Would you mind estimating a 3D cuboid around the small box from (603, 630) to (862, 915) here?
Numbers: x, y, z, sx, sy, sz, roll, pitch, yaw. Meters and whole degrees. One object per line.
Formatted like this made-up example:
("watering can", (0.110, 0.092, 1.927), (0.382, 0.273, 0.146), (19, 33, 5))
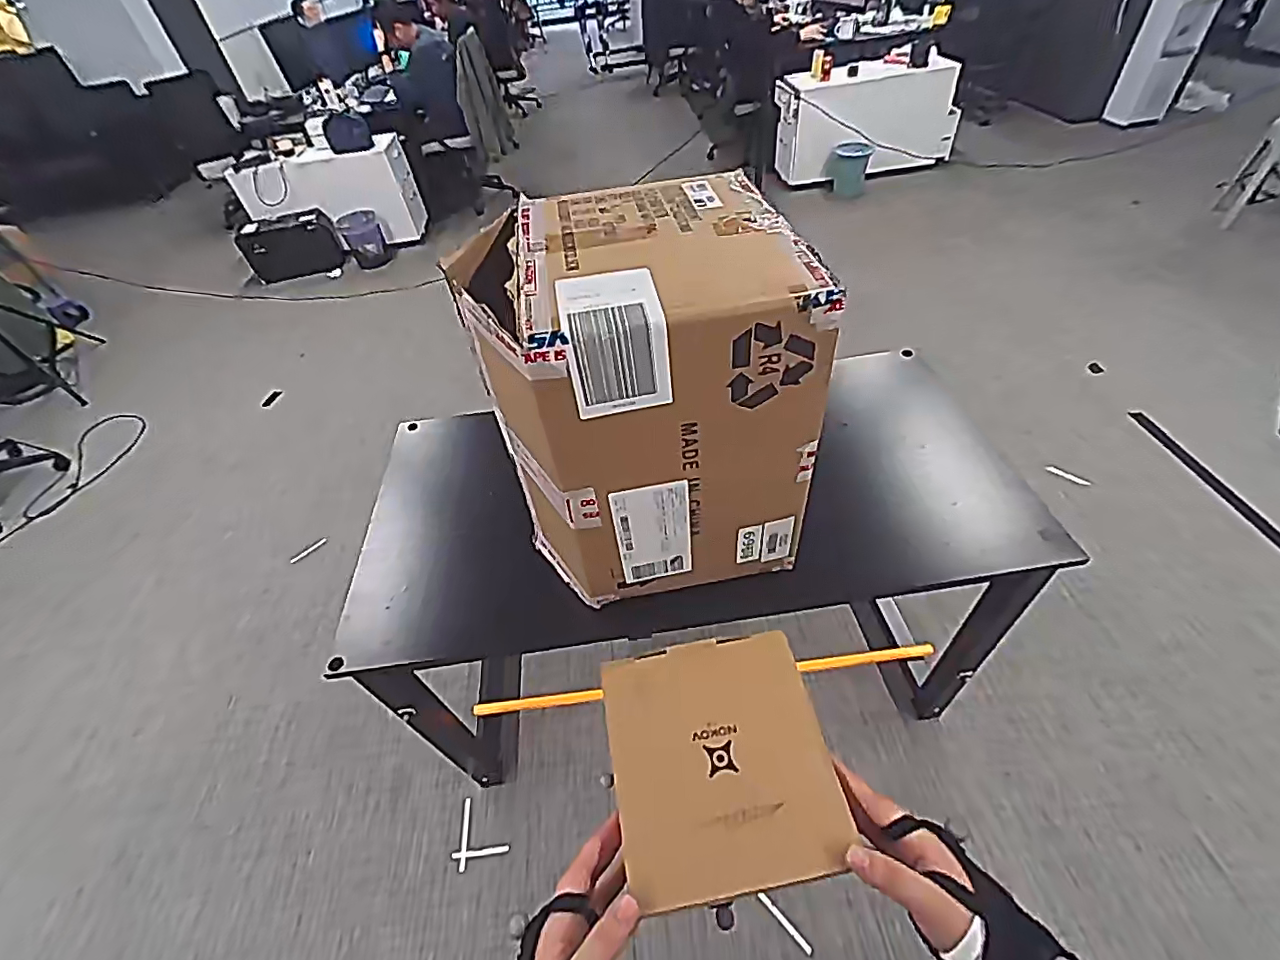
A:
("small box", (0.062, 0.259, 0.478), (0.168, 0.176, 0.179), (-9, 51, -4))
